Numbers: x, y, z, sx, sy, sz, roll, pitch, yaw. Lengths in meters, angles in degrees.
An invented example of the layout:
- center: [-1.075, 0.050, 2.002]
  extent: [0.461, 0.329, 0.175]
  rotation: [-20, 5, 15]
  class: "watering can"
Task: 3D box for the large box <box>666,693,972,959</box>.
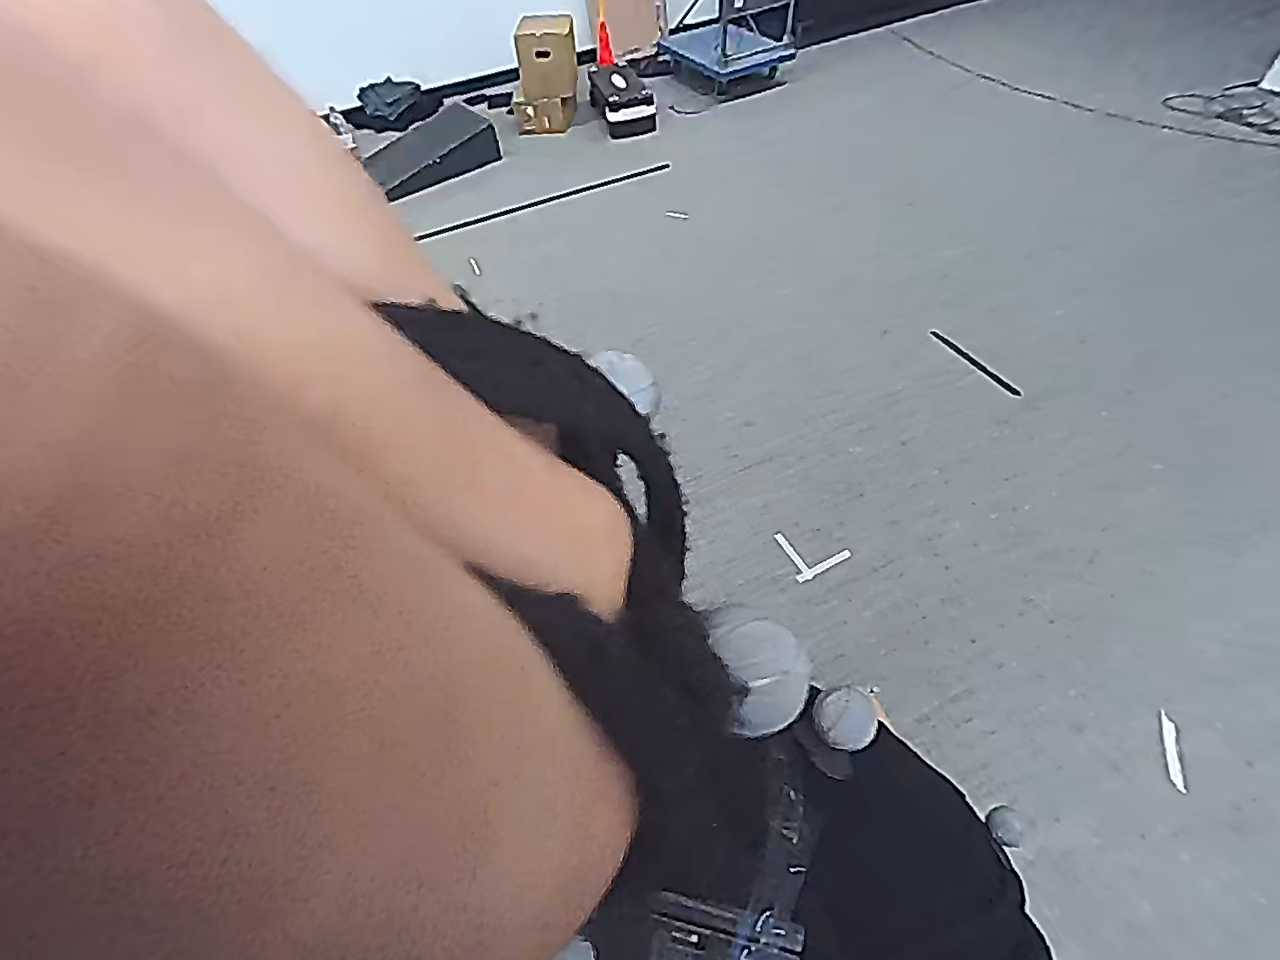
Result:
- center: [0.287, 0.655, 1.004]
  extent: [0.408, 0.320, 0.320]
  rotation: [-16, 53, -8]
  class: "large box"
